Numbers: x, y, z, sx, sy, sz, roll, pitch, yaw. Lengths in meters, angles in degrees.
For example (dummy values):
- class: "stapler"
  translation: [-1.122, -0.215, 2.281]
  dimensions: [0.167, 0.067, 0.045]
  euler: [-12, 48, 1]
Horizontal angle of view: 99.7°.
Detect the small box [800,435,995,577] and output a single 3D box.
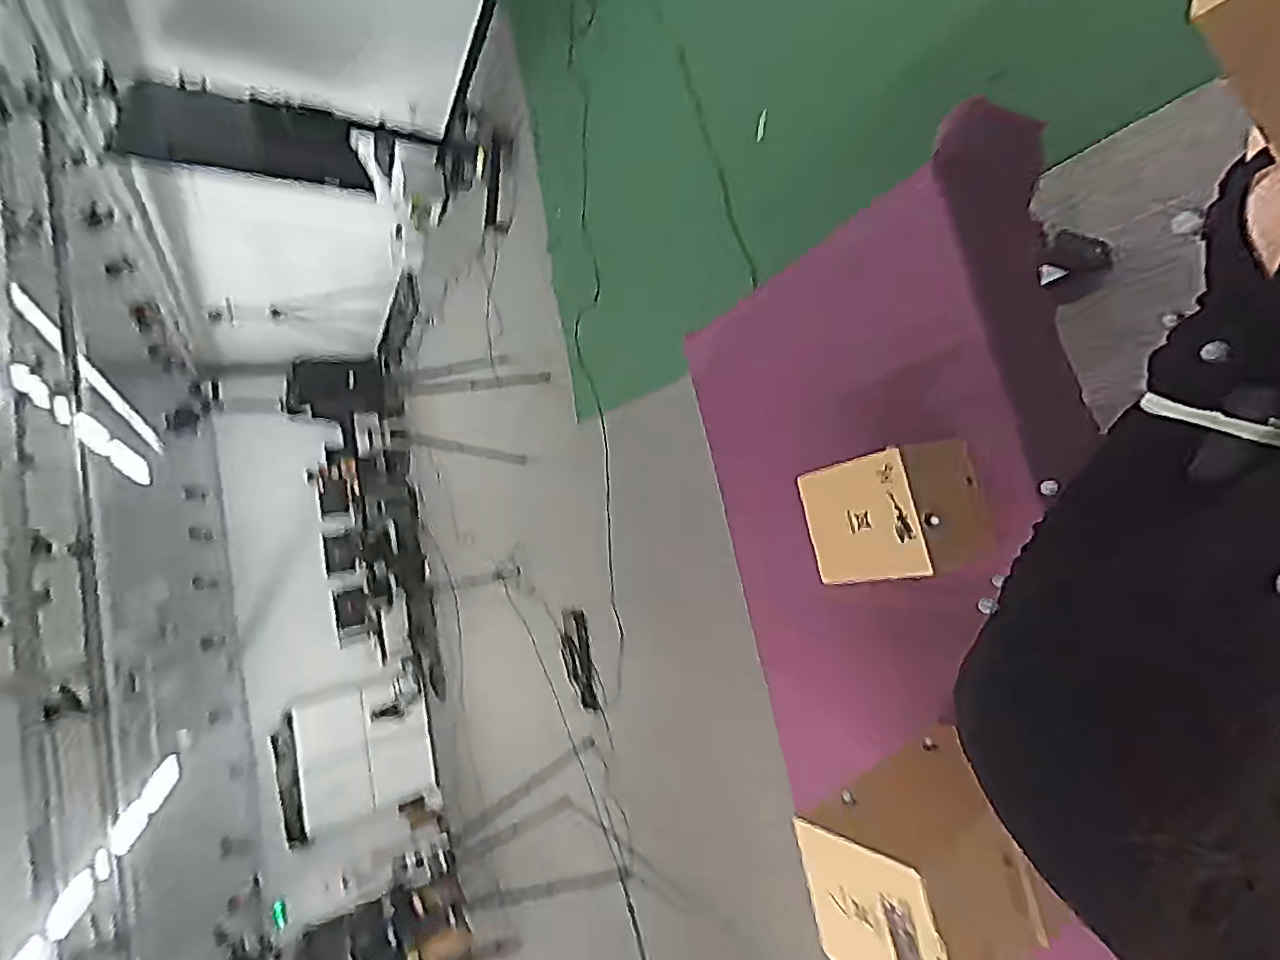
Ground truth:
- class: "small box"
  translation: [0.375, 0.040, 0.798]
  dimensions: [0.179, 0.176, 0.168]
  euler: [-25, 77, 57]
